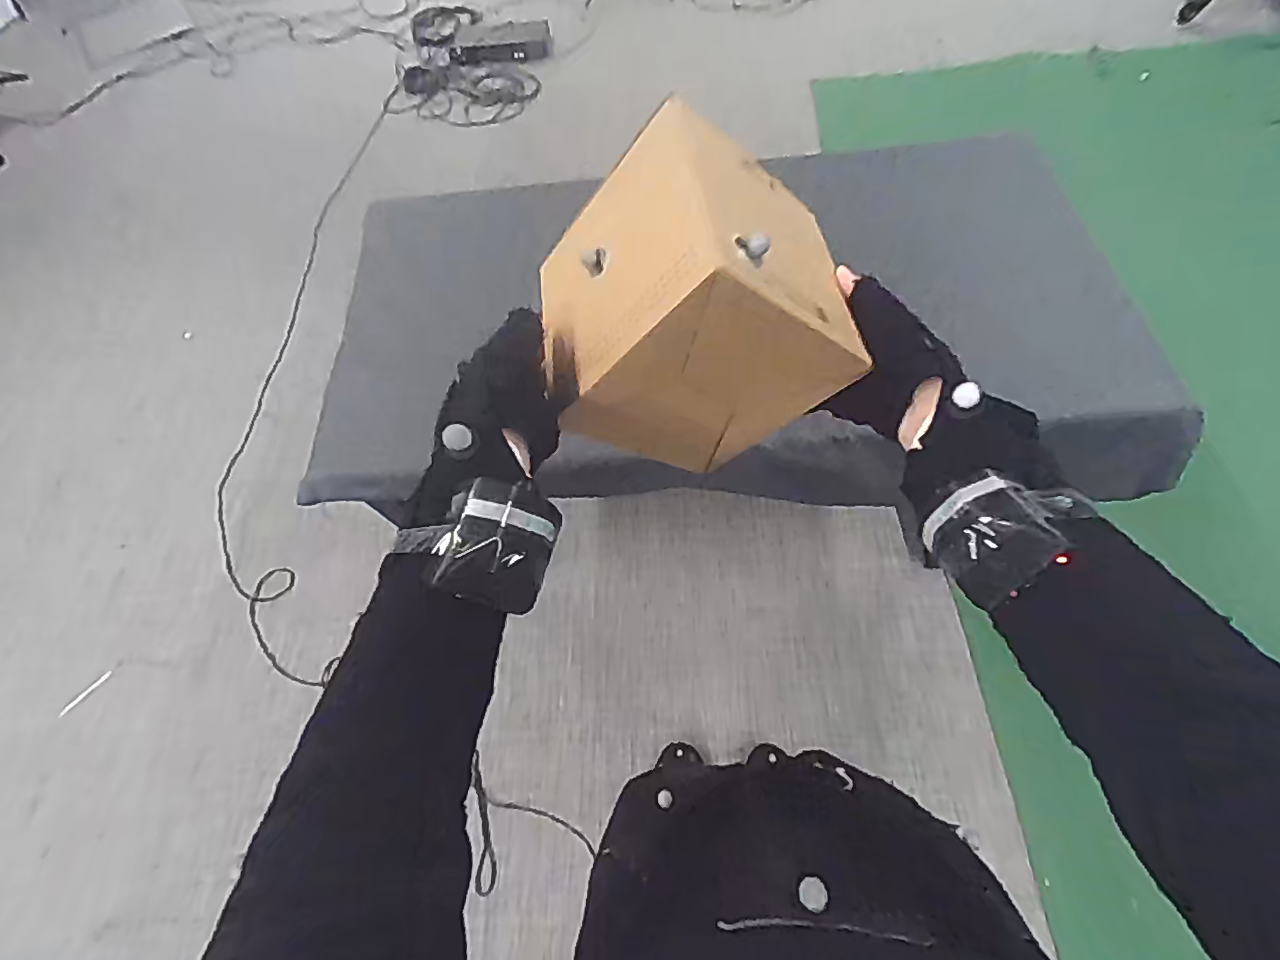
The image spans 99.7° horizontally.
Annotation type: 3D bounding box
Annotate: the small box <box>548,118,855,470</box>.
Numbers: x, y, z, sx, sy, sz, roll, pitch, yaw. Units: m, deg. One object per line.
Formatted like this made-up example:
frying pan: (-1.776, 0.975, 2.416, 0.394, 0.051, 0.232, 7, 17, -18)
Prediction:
small box: (0.043, -0.128, 0.439, 0.179, 0.168, 0.176, -34, 53, 40)
